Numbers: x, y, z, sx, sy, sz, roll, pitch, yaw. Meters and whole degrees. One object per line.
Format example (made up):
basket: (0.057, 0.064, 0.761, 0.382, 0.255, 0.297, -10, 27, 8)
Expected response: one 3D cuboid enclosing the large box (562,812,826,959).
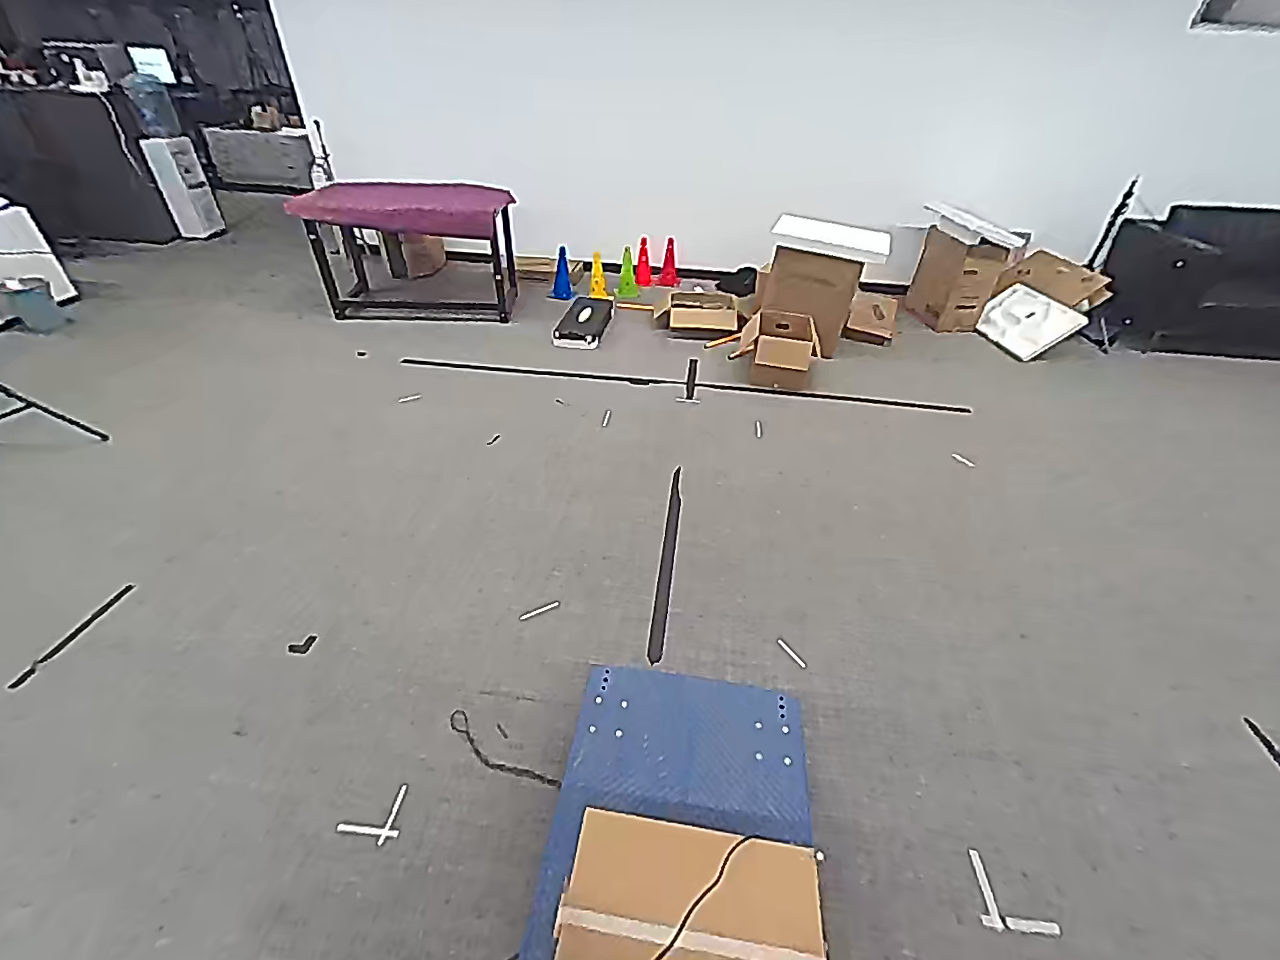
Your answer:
large box: (0.077, 0.824, 0.924, 0.408, 0.320, 0.320, 7, 39, 4)
